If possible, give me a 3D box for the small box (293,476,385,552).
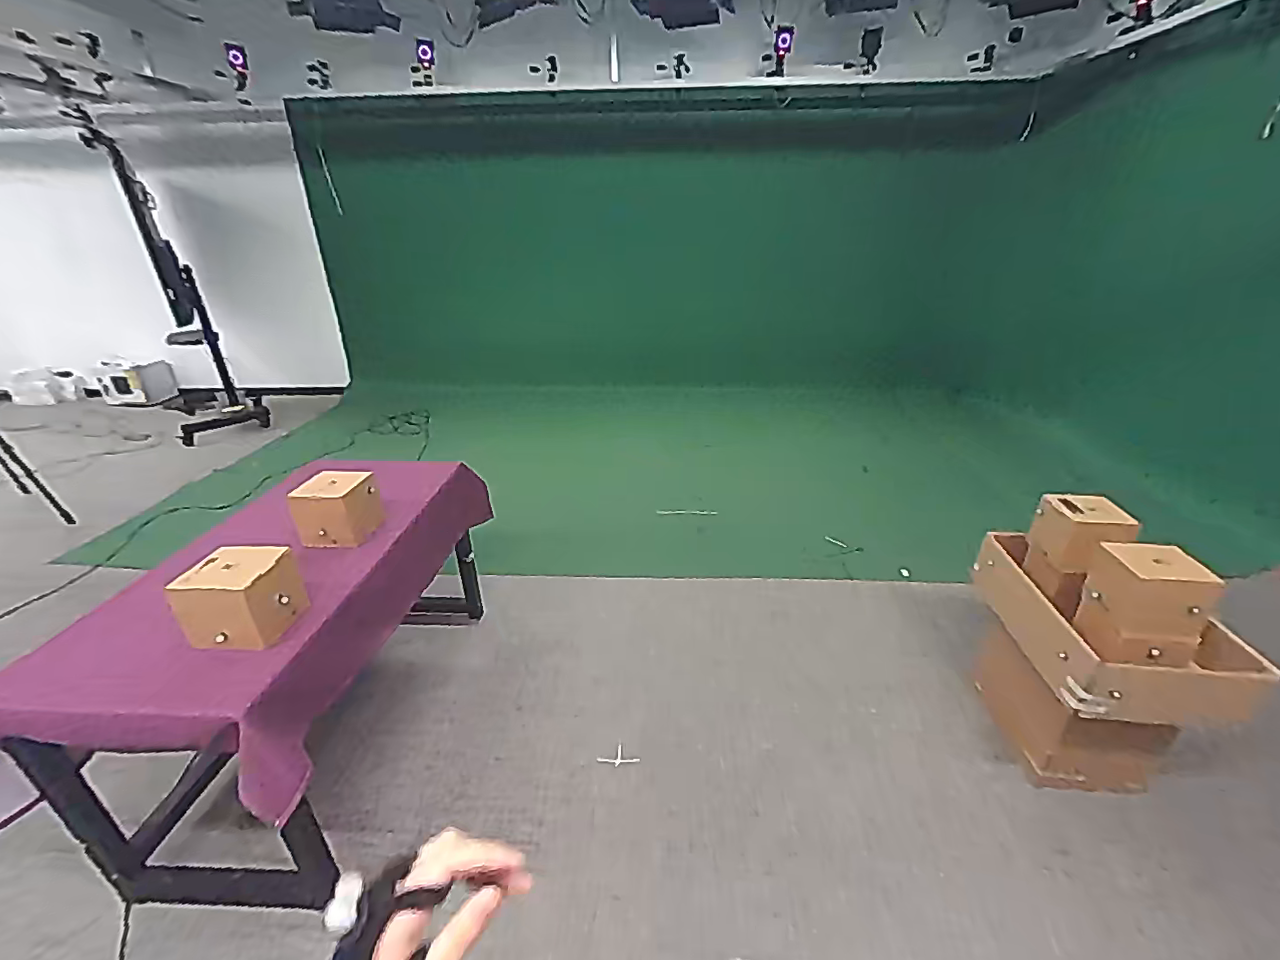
[{"bbox_3d":[-0.891,0.100,1.625,0.168,0.176,0.179,0,25,6],"label":"small box"}]

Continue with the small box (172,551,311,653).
[{"bbox_3d":[-0.900,0.280,1.244,0.179,0.176,0.168,0,25,4],"label":"small box"}]

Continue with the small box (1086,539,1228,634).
[{"bbox_3d":[1.274,0.265,1.349,0.179,0.176,0.168,1,25,10],"label":"small box"}]
